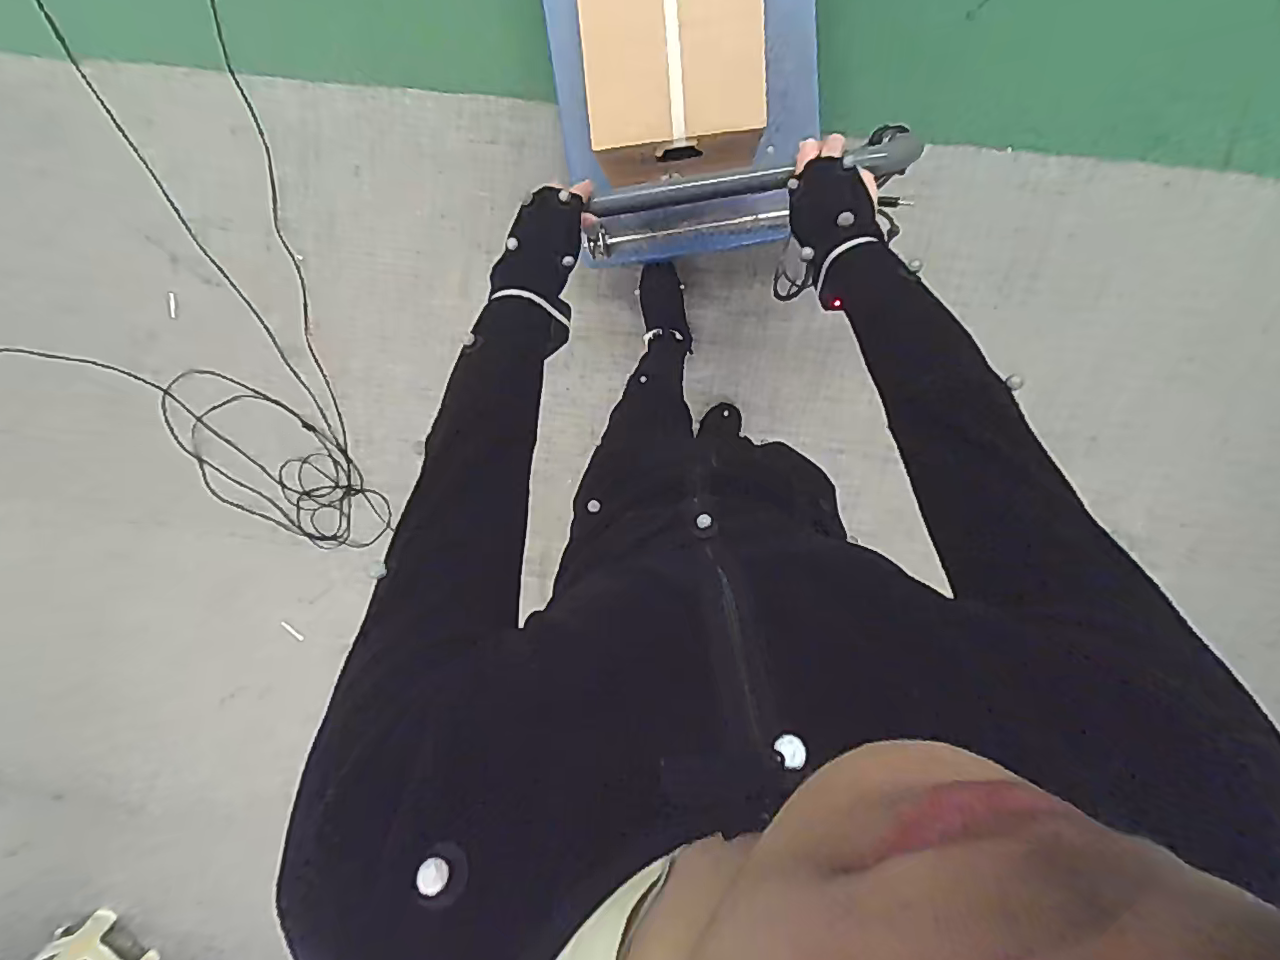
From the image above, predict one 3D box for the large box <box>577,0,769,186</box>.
[{"bbox_3d":[0.063,-0.837,1.034,0.320,0.320,0.408,-4,105,5],"label":"large box"}]
